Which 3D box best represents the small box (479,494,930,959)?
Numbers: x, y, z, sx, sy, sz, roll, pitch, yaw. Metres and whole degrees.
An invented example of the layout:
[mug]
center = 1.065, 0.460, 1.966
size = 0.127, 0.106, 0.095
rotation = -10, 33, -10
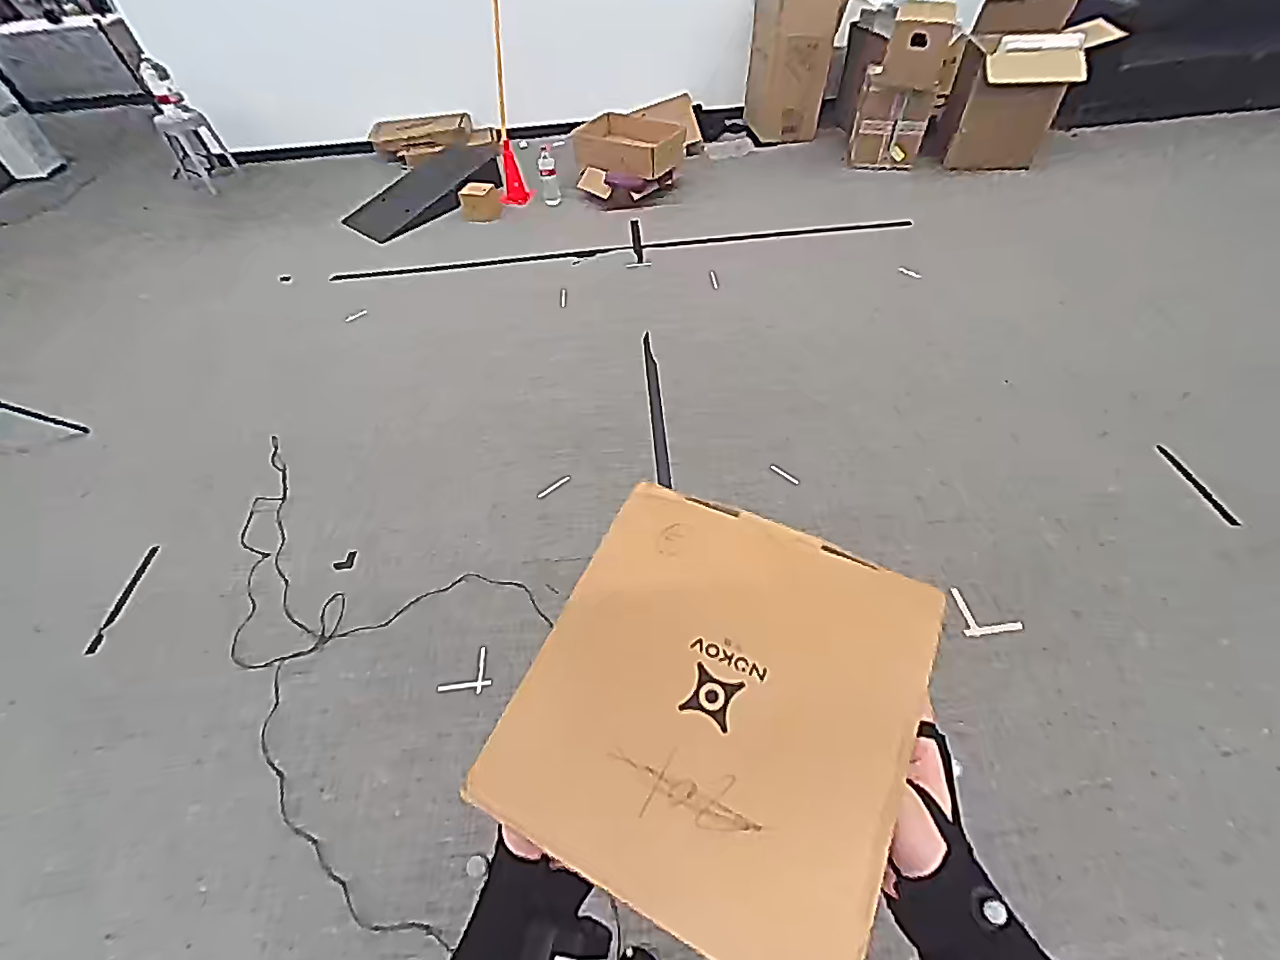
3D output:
[small box]
center = 0.043, 0.142, 0.320
size = 0.168, 0.176, 0.179
rotation = 19, 63, 19
